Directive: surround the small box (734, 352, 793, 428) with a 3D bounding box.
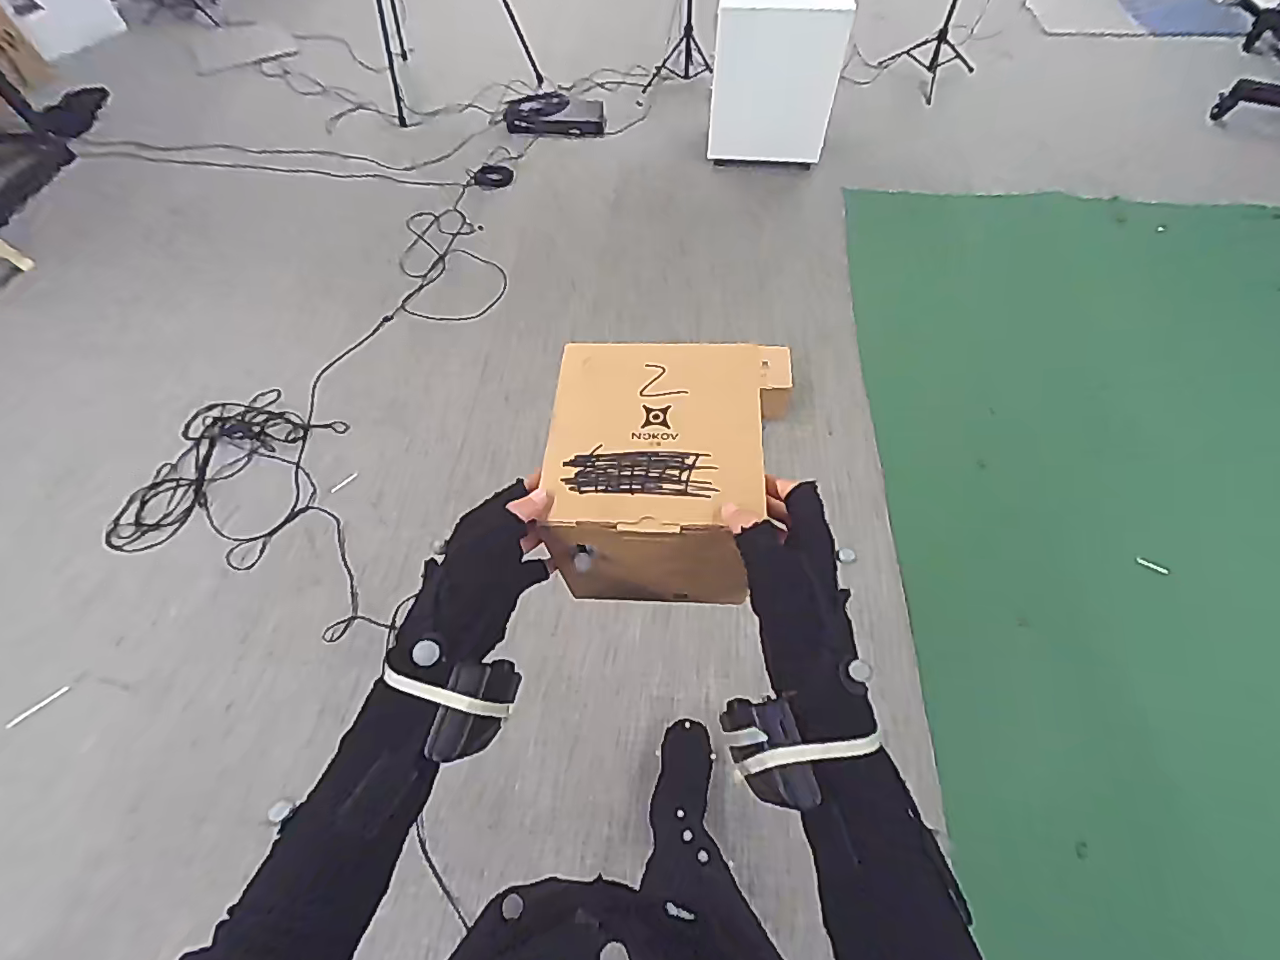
[{"bbox_3d":[0.401,-0.293,1.772,0.168,0.176,0.179,4,59,5],"label":"small box"}]
